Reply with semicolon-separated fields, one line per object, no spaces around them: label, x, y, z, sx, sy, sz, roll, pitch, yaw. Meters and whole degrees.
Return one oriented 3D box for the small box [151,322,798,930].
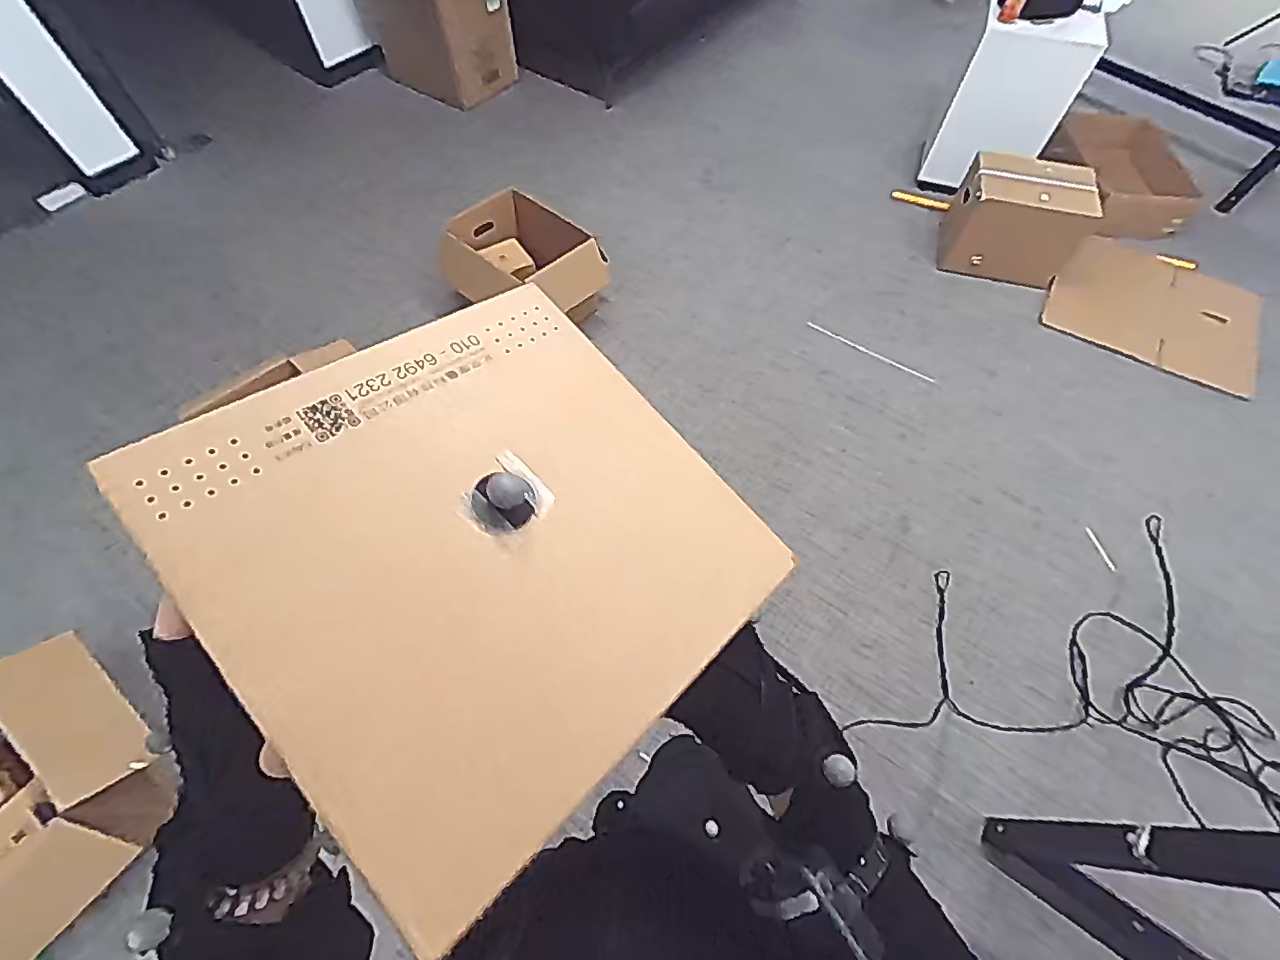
small box;-0.069;0.051;0.256;0.168;0.179;0.176;-36;76;-32
